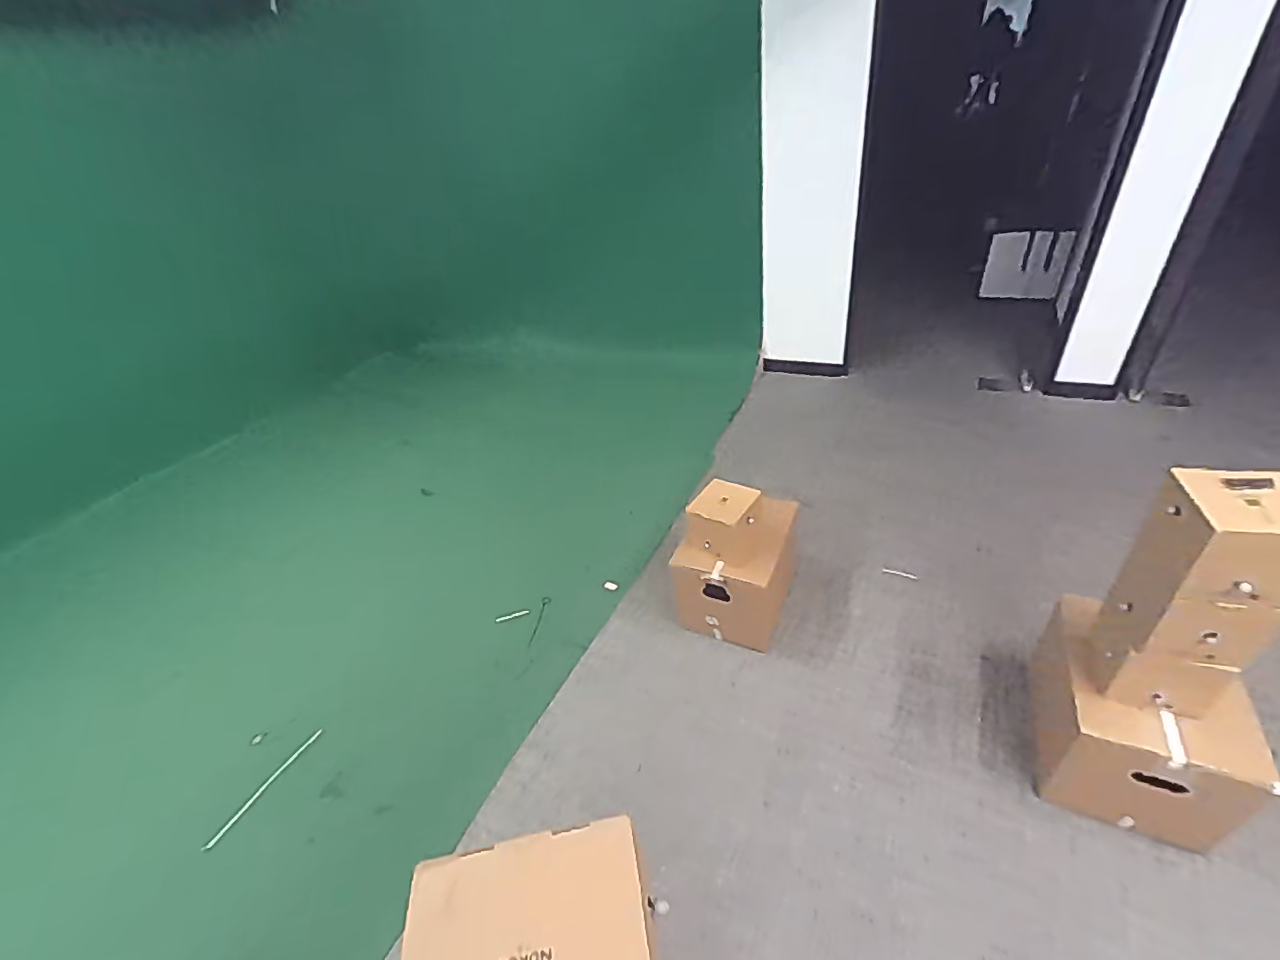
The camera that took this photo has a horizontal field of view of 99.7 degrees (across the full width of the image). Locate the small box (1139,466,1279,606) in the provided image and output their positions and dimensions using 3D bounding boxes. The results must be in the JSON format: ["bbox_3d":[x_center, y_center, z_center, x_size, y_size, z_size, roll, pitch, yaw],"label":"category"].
[{"bbox_3d":[1.044,0.096,0.961,0.168,0.176,0.179,3,39,19],"label":"small box"}]

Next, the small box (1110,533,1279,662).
[{"bbox_3d":[1.070,0.229,1.057,0.168,0.176,0.179,4,39,20],"label":"small box"}]

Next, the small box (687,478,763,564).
[{"bbox_3d":[0.264,0.123,1.660,0.168,0.176,0.179,17,45,35],"label":"small box"}]

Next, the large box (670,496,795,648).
[{"bbox_3d":[0.330,0.289,1.836,0.320,0.320,0.408,10,40,26],"label":"large box"}]
